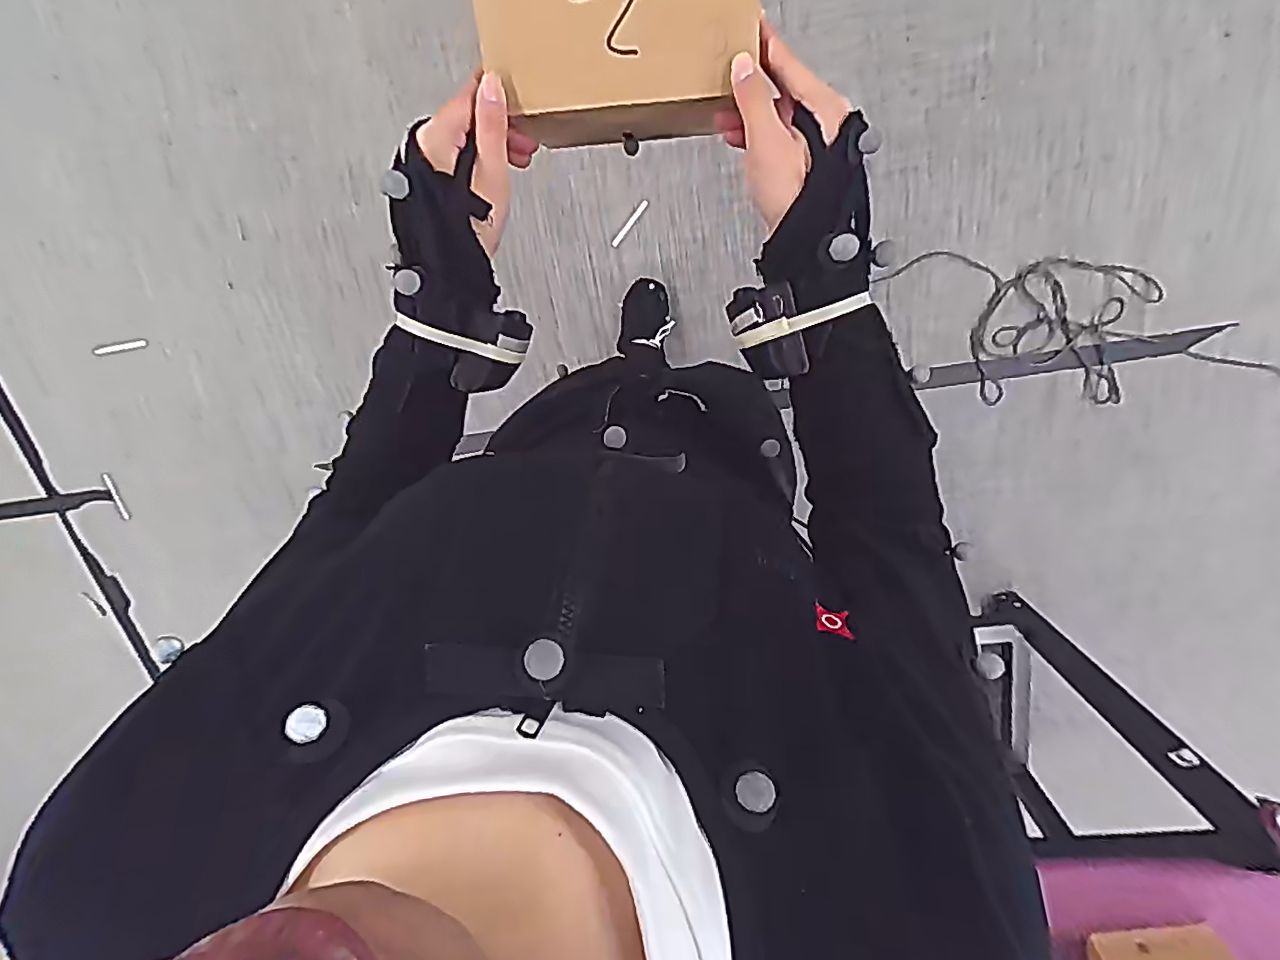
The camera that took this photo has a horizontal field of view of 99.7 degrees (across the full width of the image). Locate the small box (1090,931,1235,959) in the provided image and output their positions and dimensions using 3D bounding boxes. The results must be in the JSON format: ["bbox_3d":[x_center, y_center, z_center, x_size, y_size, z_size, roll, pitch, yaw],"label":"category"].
[{"bbox_3d":[0.761,0.761,0.741,0.168,0.176,0.179,-15,107,9],"label":"small box"}]
